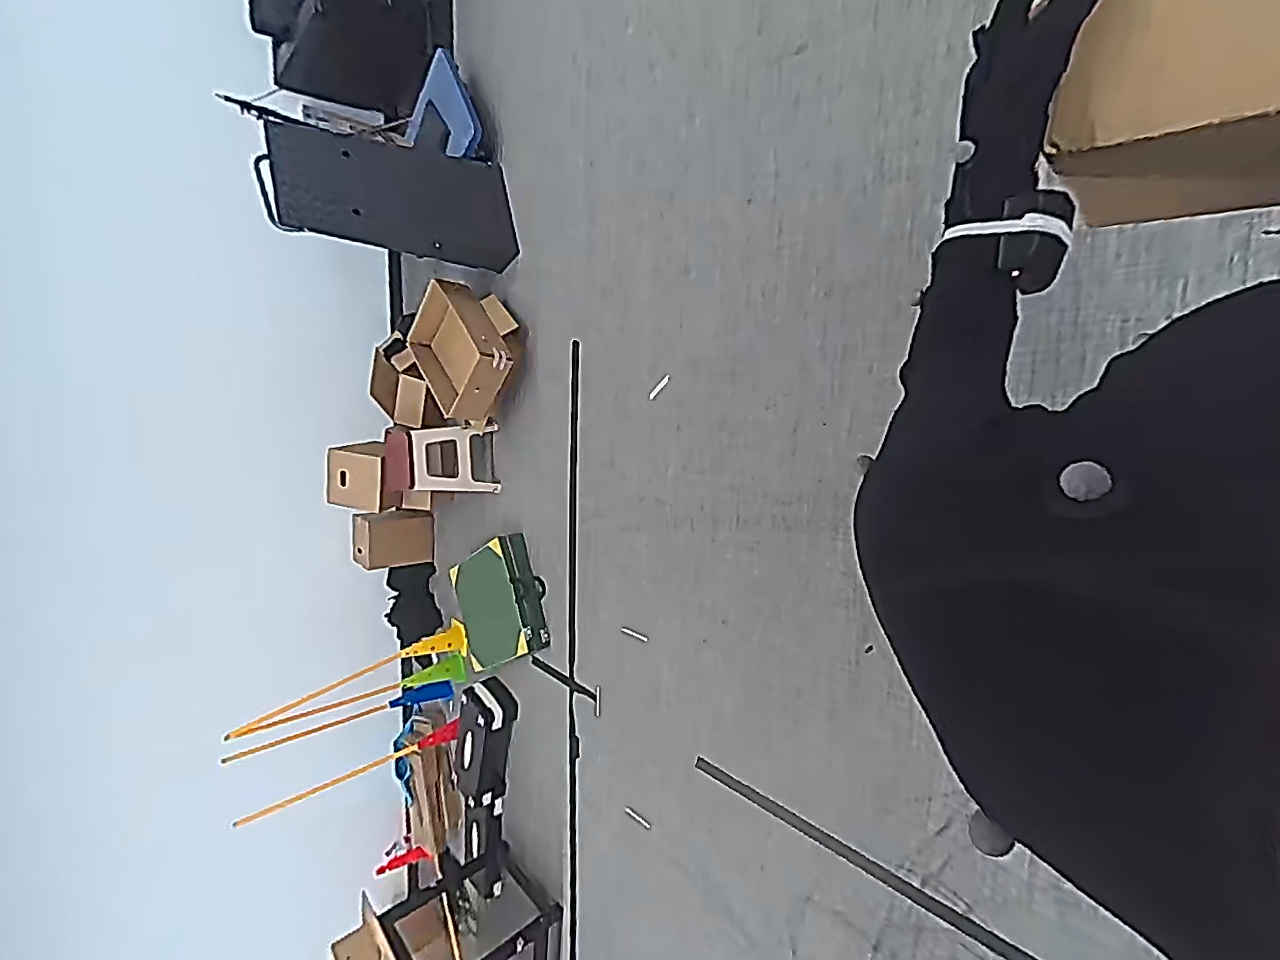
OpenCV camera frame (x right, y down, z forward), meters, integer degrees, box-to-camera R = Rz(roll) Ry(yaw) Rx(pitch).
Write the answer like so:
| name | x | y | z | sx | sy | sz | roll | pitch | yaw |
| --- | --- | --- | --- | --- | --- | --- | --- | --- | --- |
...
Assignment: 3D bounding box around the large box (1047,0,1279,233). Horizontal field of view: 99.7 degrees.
| name | x | y | z | sx | sy | sz | roll | pitch | yaw |
| --- | --- | --- | --- | --- | --- | --- | --- | --- | --- |
| large box | 0.576 | -0.400 | 0.387 | 0.408 | 0.320 | 0.320 | 11 | 106 | 42 |
